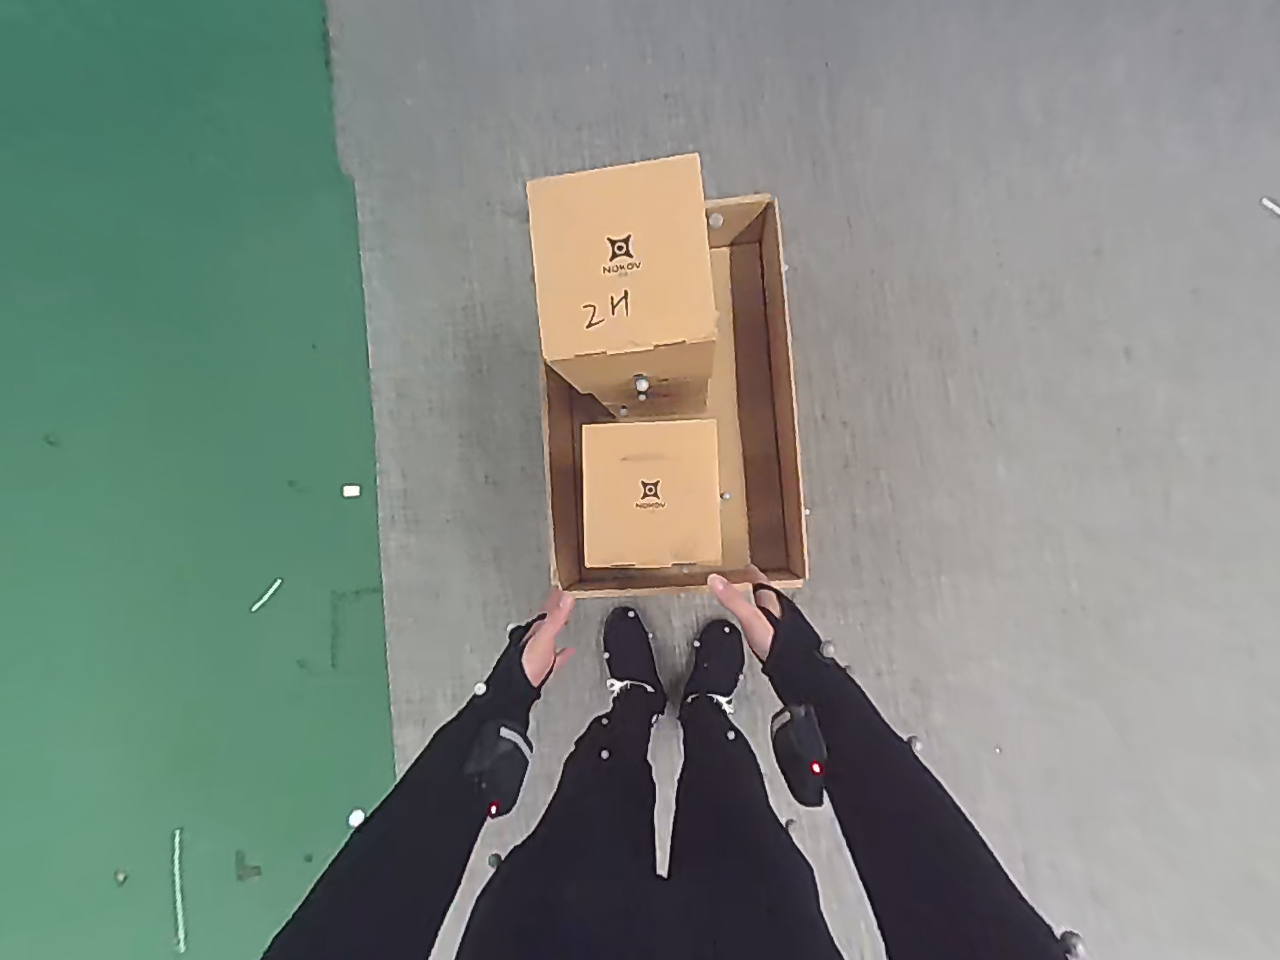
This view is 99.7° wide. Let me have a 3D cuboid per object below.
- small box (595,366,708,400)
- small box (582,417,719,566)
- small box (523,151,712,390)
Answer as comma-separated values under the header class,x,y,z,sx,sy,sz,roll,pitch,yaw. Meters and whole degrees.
class,x,y,z,sx,sy,sz,roll,pitch,yaw
small box,0.004,-0.216,0.744,0.168,0.176,0.179,-4,89,6
small box,0.020,0.018,0.722,0.168,0.176,0.179,-2,85,6
small box,-0.015,-0.206,0.579,0.168,0.176,0.179,-6,88,7
